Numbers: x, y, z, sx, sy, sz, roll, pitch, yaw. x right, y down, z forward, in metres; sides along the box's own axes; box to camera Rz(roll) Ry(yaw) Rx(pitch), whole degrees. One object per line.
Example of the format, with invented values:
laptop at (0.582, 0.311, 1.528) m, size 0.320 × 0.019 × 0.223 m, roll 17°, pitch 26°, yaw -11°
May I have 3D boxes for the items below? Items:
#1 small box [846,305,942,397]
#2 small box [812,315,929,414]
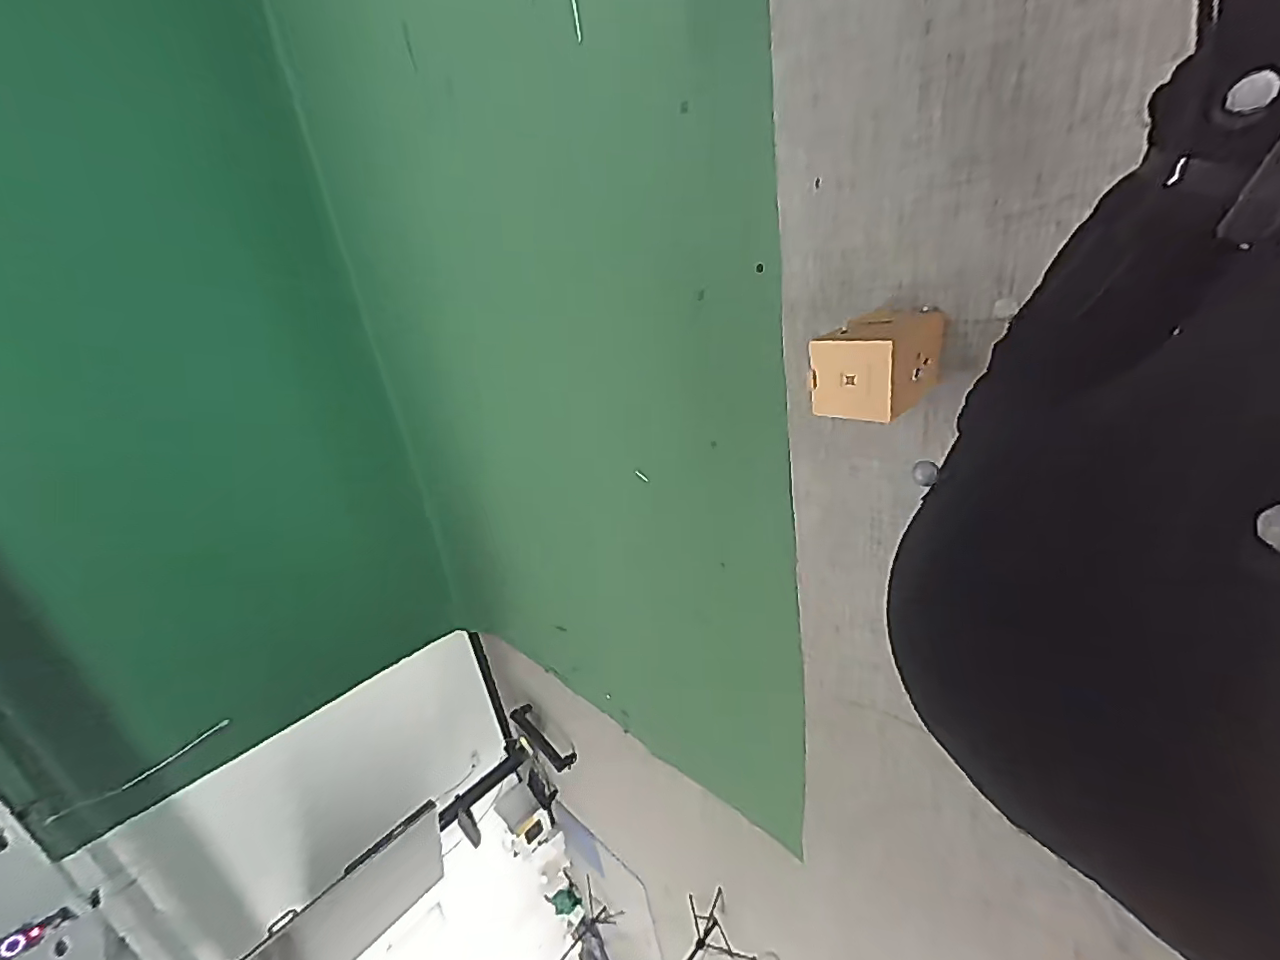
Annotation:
small box at (0.592, -0.308, 1.261) m, size 0.168 × 0.176 × 0.179 m, roll 17°, pitch 125°, yaw 43°
small box at (0.488, -0.249, 1.150) m, size 0.179 × 0.176 × 0.168 m, roll 13°, pitch 122°, yaw 44°
